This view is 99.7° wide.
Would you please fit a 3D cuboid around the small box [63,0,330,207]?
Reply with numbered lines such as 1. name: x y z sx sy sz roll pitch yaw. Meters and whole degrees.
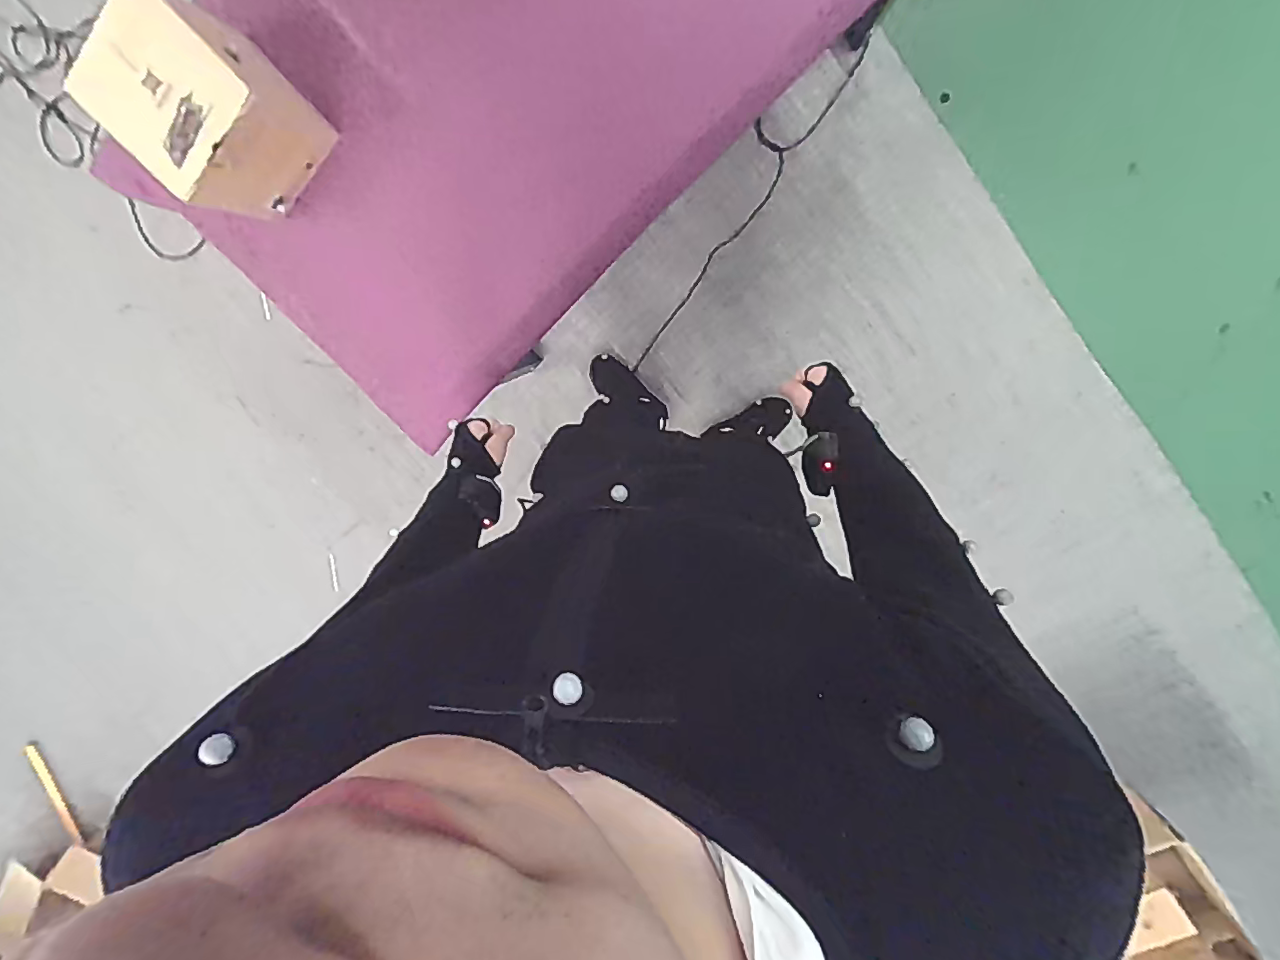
1. small box: -0.556 -0.485 0.704 0.168 0.176 0.179 -42 99 16

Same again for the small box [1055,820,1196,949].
1. small box: 1.190 0.995 1.338 0.168 0.176 0.179 -35 102 15

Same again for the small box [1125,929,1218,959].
1. small box: 1.346 1.189 1.392 0.168 0.176 0.179 -37 99 16
